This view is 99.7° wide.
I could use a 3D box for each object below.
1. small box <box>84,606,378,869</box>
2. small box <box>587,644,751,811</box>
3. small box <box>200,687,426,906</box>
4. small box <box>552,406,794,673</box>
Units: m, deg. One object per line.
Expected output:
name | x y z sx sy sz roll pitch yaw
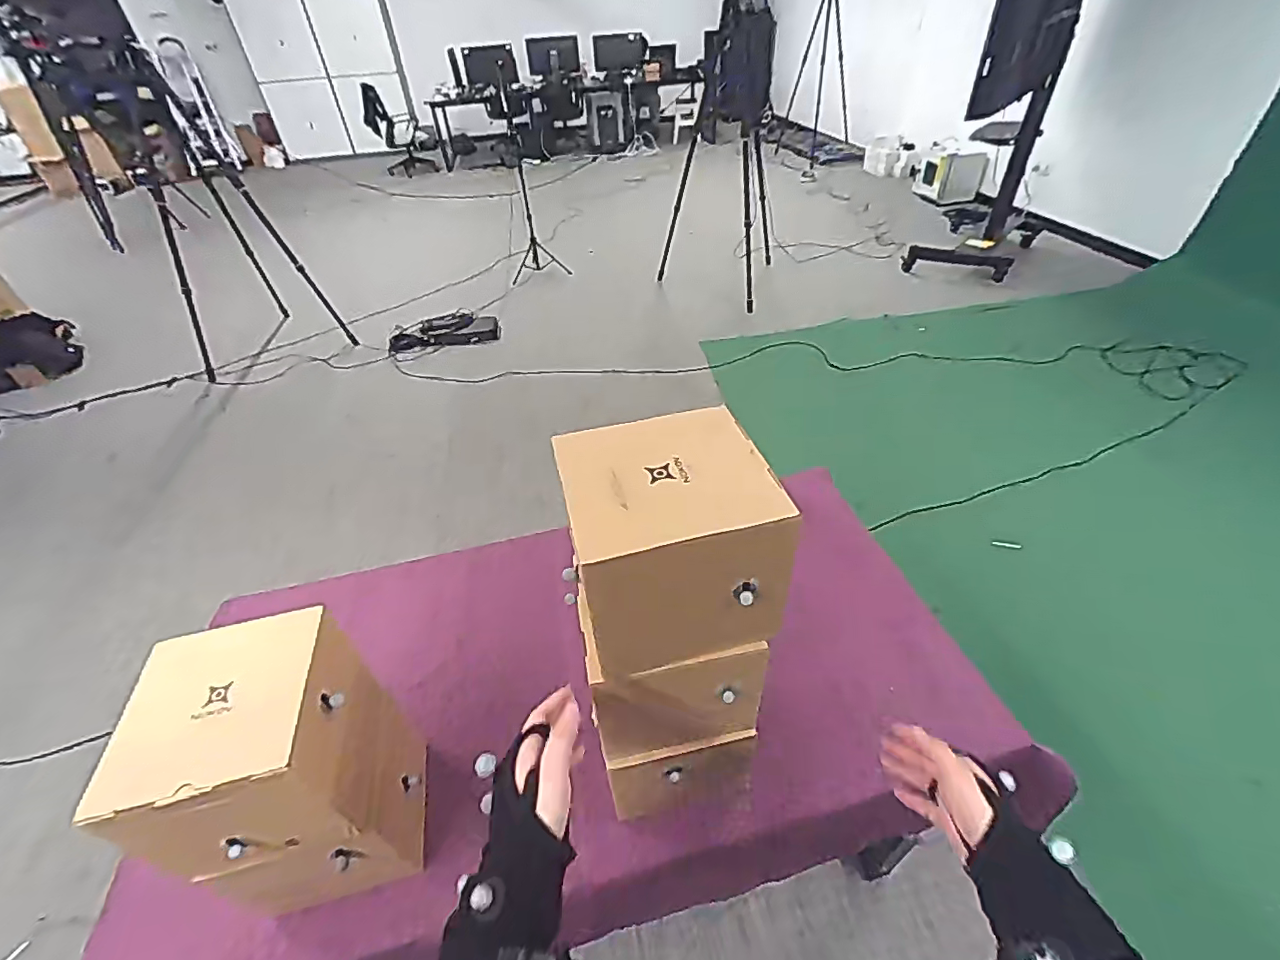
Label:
small box | -0.393 0.266 0.566 0.168 0.176 0.179 -12 43 -9
small box | 0.035 0.312 0.720 0.179 0.176 0.168 -10 42 -7
small box | -0.379 0.391 0.671 0.179 0.176 0.168 -12 41 -9
small box | 0.022 0.055 0.516 0.179 0.176 0.168 -12 42 -8
